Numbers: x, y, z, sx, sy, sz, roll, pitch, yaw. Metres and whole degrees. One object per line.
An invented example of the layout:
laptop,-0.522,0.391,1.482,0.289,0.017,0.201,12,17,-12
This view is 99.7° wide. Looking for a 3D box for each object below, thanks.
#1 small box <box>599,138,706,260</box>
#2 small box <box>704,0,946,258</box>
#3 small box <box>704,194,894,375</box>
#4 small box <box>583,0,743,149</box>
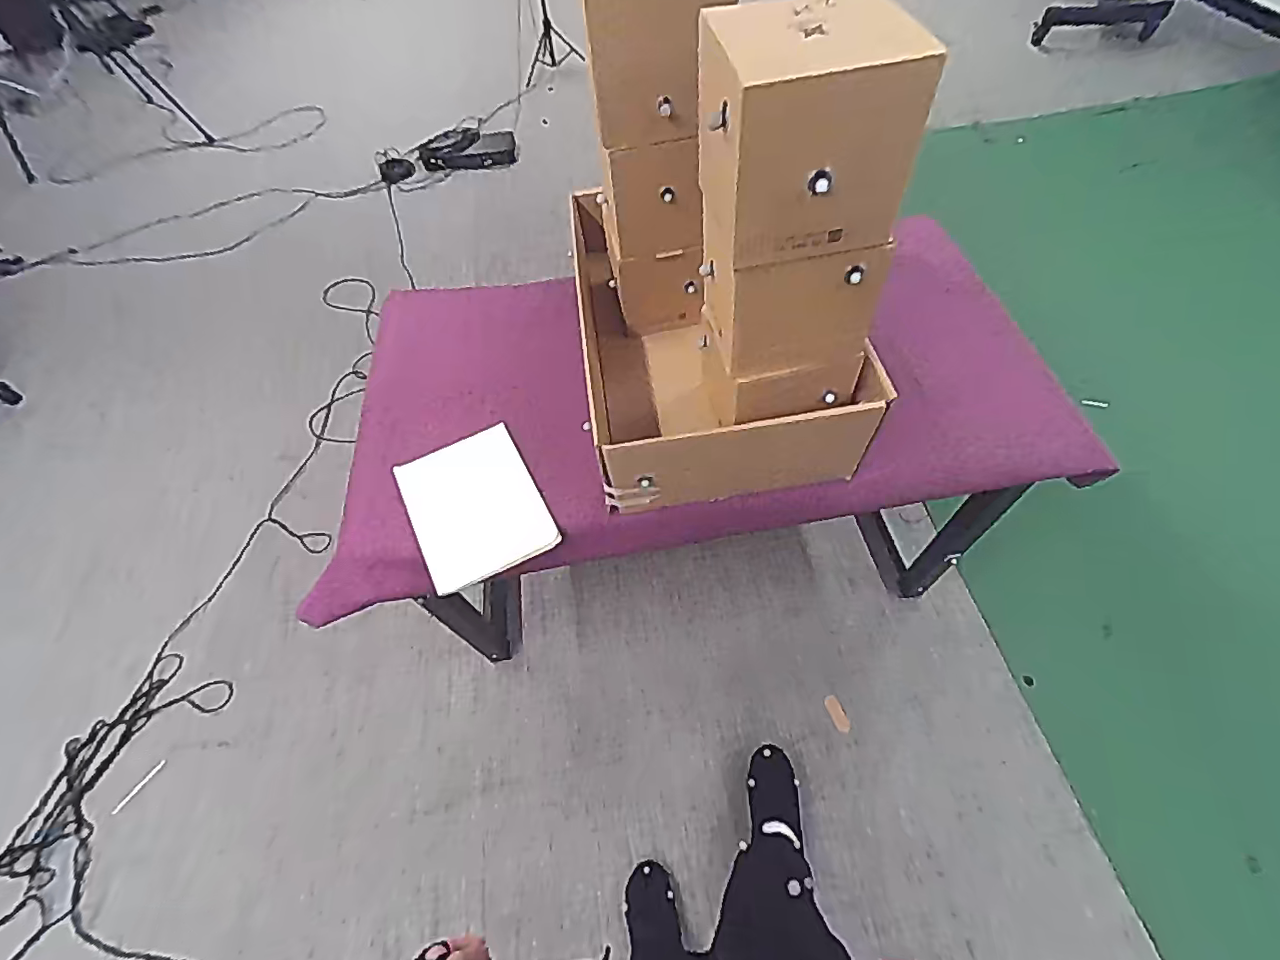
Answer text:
small box,0.036,-0.469,0.832,0.179,0.176,0.168,-11,58,-2
small box,0.160,-0.341,0.538,0.168,0.176,0.179,-9,55,-1
small box,0.180,-0.250,0.675,0.179,0.176,0.168,-9,56,0
small box,0.022,-0.558,0.695,0.179,0.176,0.168,-8,58,-2
